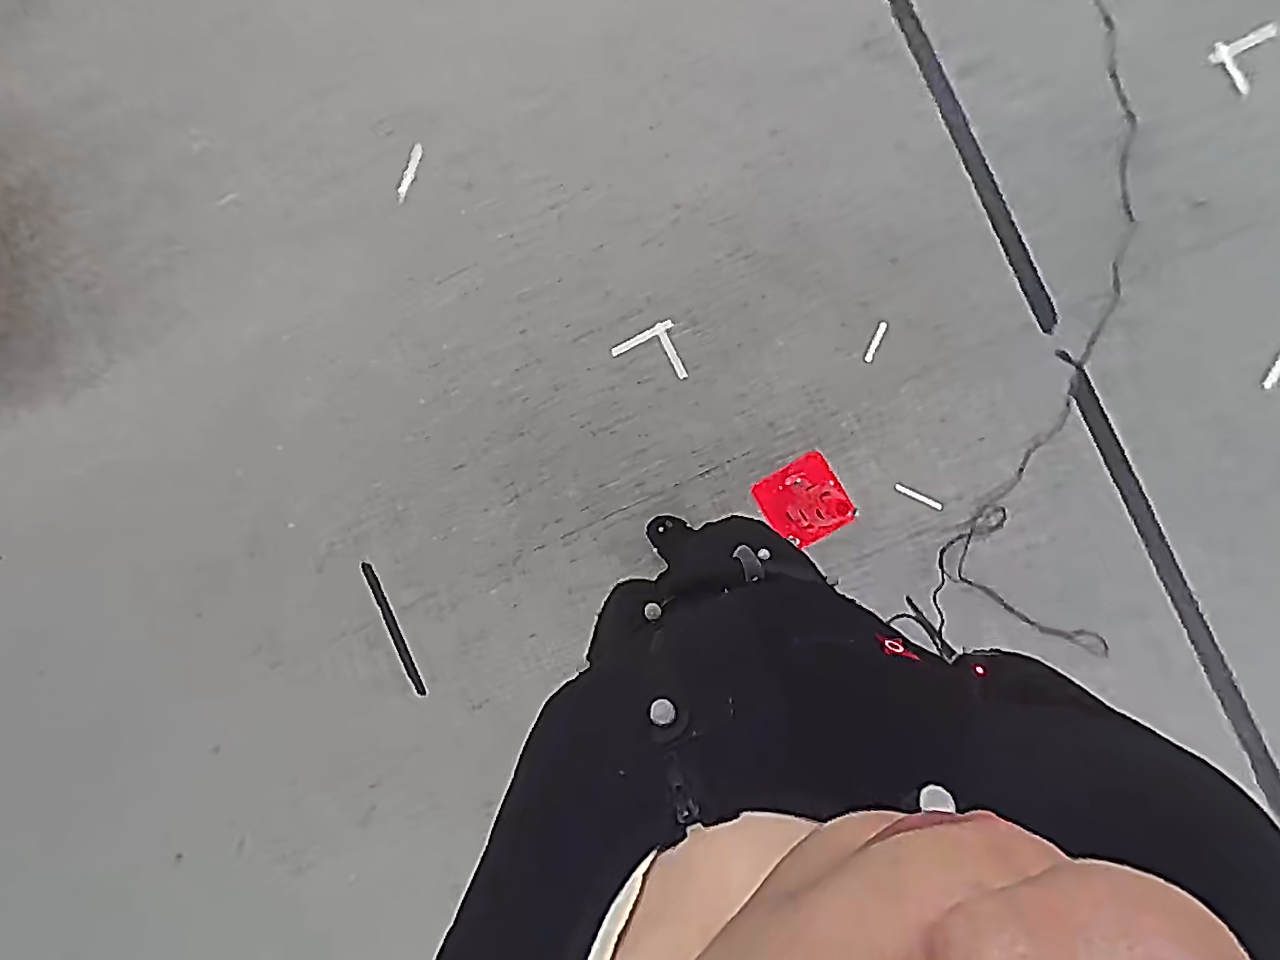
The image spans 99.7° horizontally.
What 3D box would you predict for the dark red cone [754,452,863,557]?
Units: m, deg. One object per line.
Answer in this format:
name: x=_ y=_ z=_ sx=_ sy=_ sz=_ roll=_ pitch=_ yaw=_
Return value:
dark red cone: x=0.387 y=0.056 z=1.135 sx=0.201 sy=0.394 sz=0.202 roll=-32 pitch=86 yaw=3
